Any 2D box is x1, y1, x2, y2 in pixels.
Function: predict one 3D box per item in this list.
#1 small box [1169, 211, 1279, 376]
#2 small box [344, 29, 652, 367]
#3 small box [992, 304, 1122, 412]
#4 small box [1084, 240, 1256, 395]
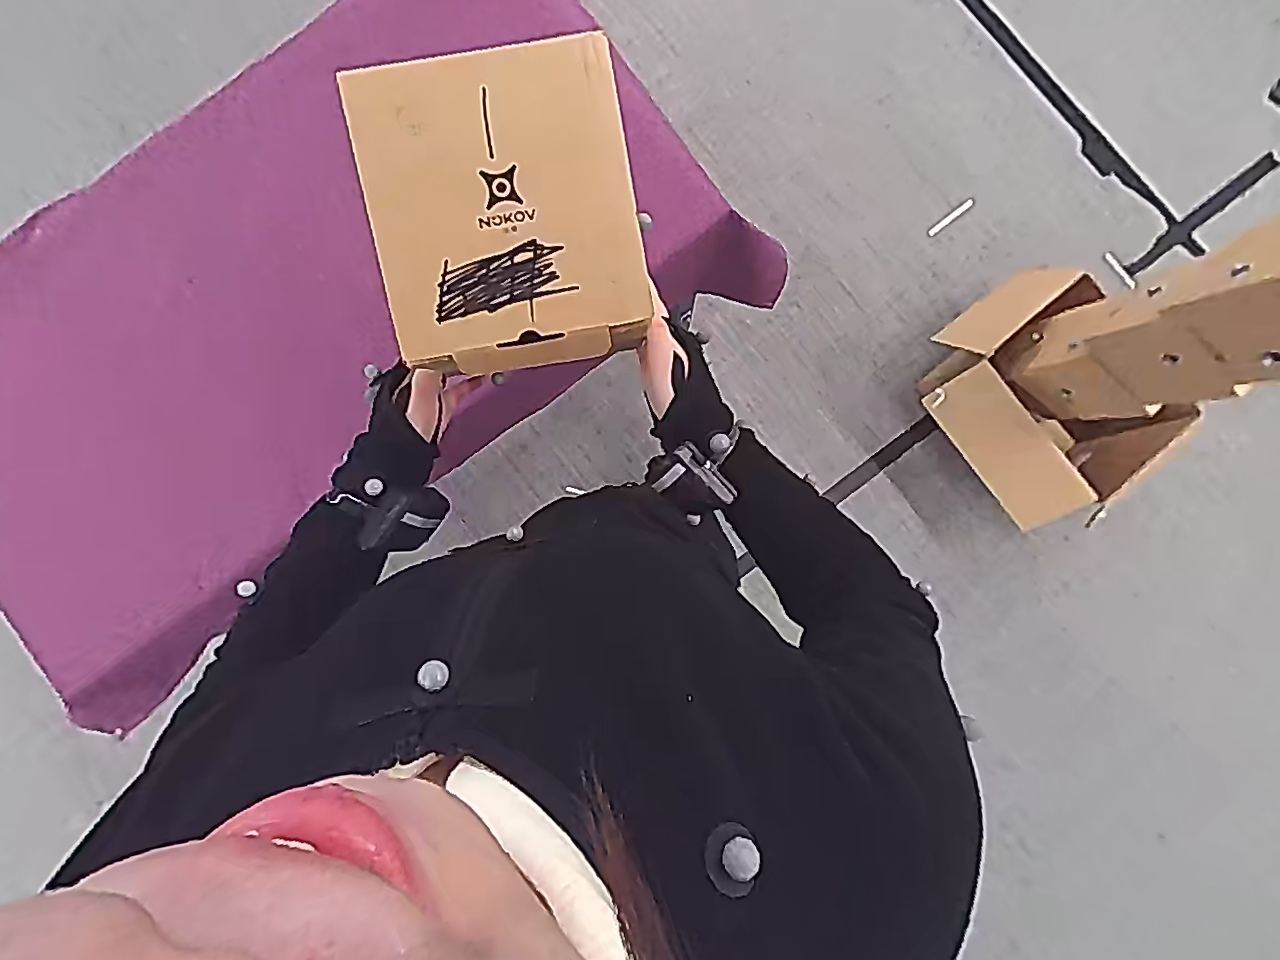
[{"bbox_3d":[0.896,-0.263,0.739,0.179,0.176,0.168,-44,92,3],"label":"small box"},{"bbox_3d":[-0.087,-0.185,0.414,0.168,0.176,0.179,-10,98,-2],"label":"small box"},{"bbox_3d":[0.956,-0.267,1.229,0.179,0.176,0.168,30,93,-1],"label":"small box"},{"bbox_3d":[0.912,-0.258,0.902,0.179,0.176,0.168,44,94,-1],"label":"small box"}]
